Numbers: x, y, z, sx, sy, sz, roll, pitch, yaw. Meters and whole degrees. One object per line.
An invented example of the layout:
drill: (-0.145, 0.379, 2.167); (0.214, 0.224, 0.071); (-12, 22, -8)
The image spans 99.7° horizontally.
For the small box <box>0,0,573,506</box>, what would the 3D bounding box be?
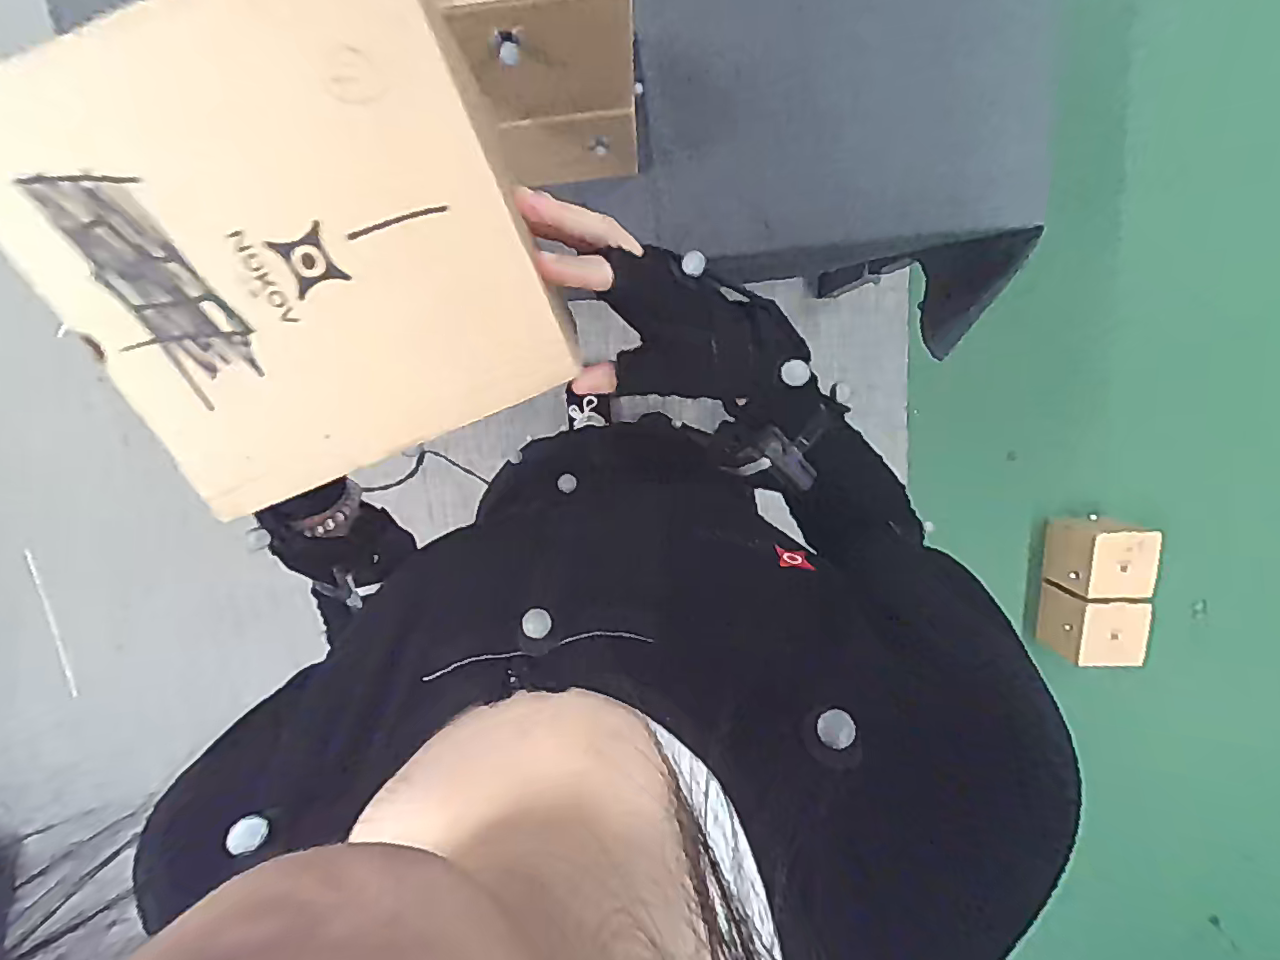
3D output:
small box: (-0.145, -0.117, 0.281); (0.179, 0.176, 0.168); (-22, 115, 1)

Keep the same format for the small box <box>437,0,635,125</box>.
small box: (-0.098, -0.418, 0.437); (0.179, 0.176, 0.168); (-6, 100, 2)
